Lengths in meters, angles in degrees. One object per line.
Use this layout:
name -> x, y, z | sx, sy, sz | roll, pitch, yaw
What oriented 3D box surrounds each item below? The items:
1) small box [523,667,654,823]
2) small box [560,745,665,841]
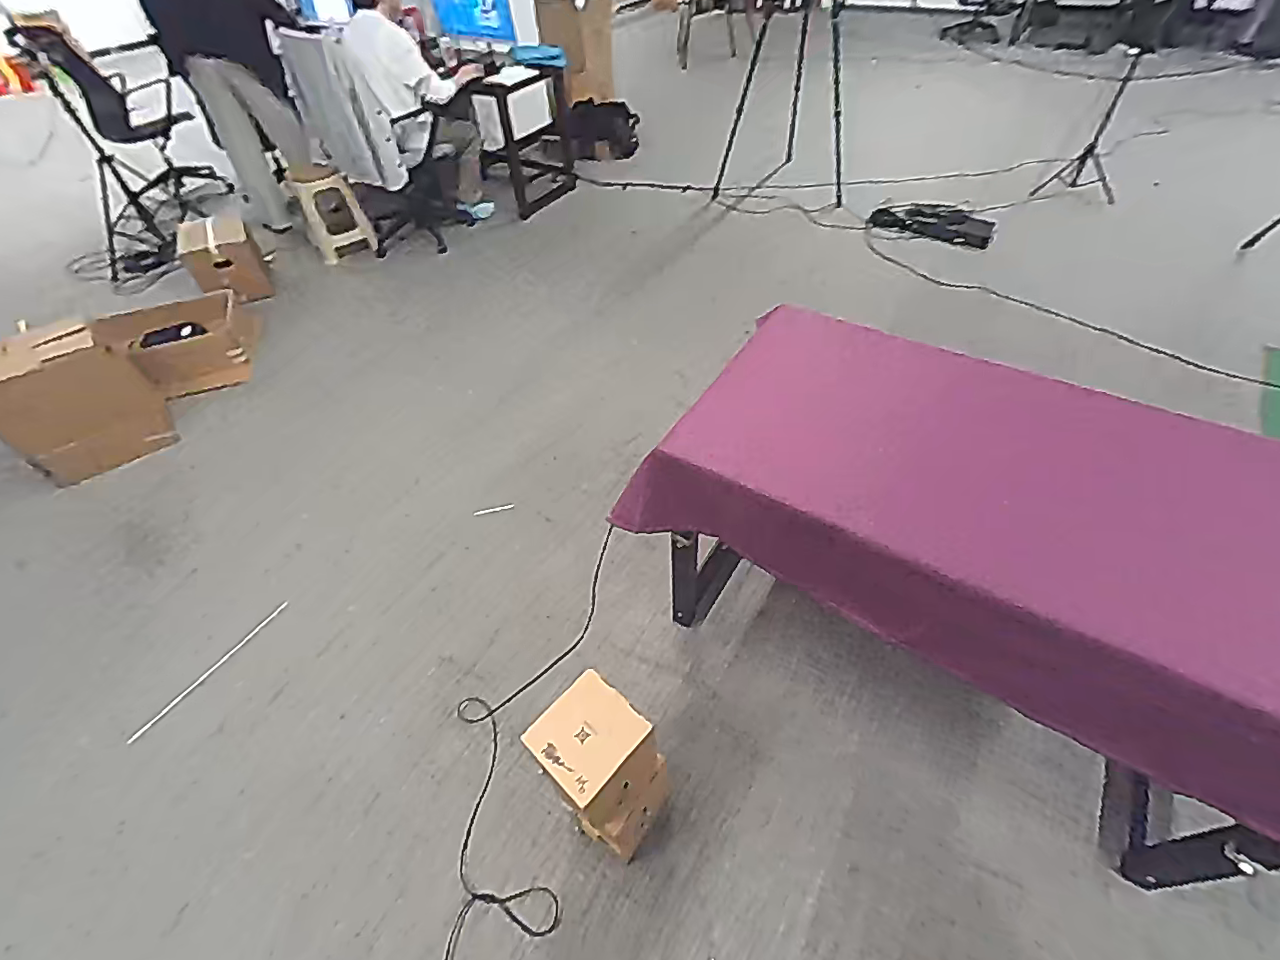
small box -> -0.090, 0.494, 1.009 | 0.168, 0.176, 0.179 | 34, 57, 29
small box -> -0.064, 0.613, 1.123 | 0.179, 0.176, 0.168 | 27, 56, 24
